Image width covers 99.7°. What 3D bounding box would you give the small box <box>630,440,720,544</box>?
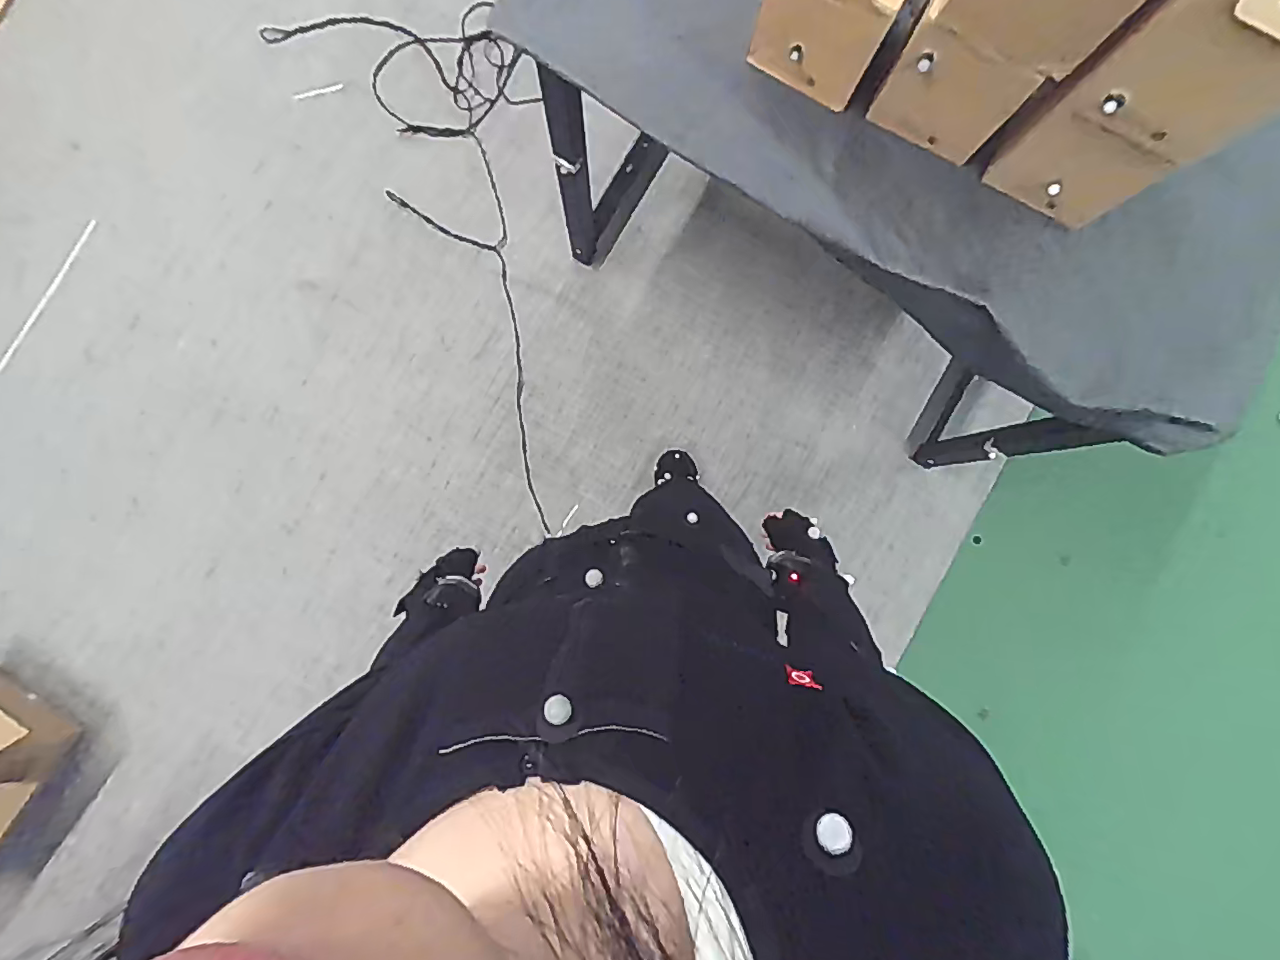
[{"bbox_3d":[0.085,0.033,1.424,0.179,0.176,0.168,-33,58,-25],"label":"small box"}]
